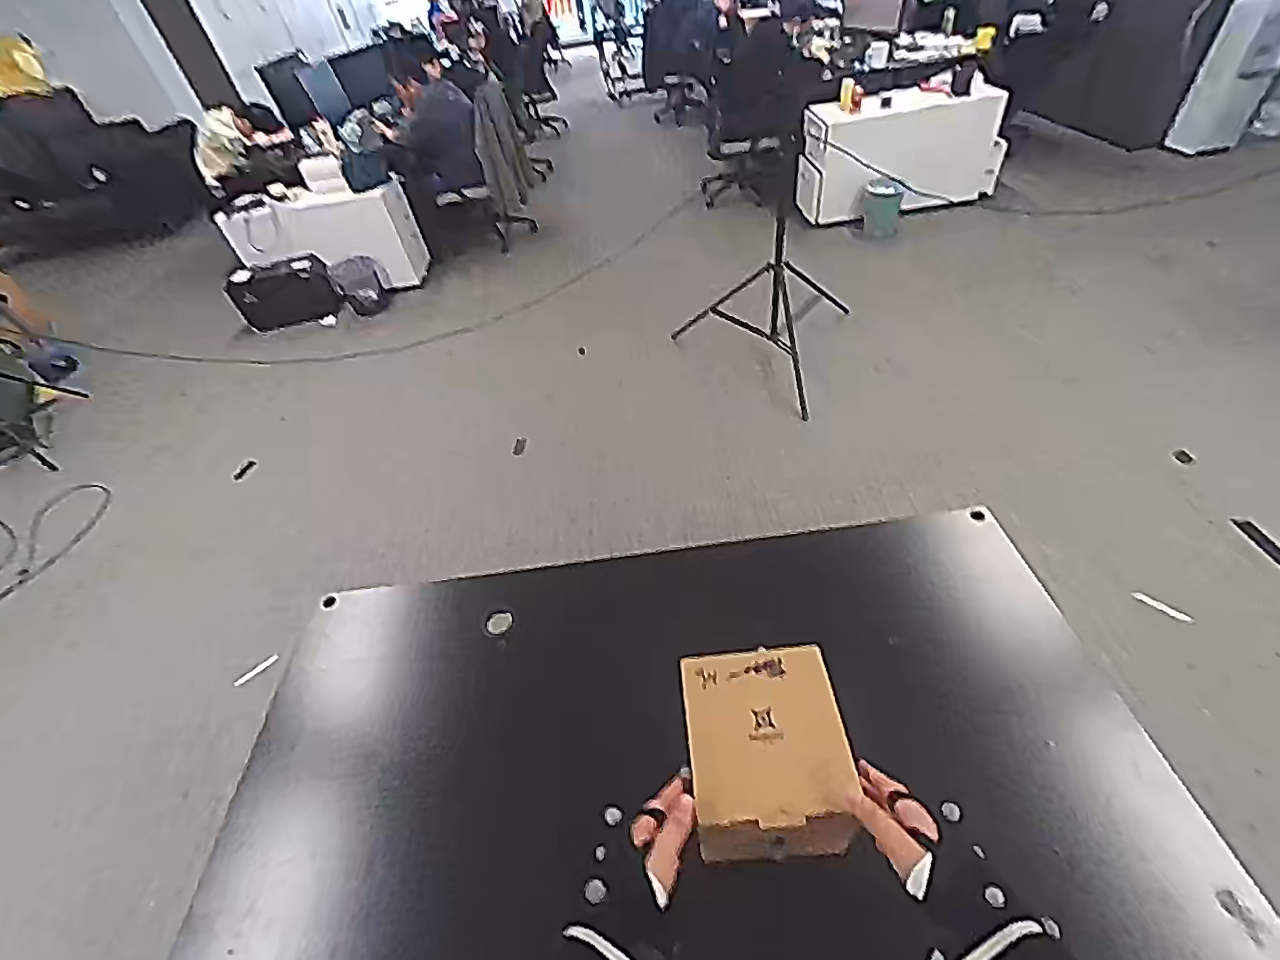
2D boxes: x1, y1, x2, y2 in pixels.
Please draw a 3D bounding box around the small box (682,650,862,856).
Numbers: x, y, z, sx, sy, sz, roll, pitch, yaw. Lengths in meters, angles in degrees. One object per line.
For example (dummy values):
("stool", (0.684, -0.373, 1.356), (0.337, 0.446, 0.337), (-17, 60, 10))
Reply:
("small box", (0.144, 0.326, 0.637), (0.168, 0.176, 0.179), (-7, 45, 4))
